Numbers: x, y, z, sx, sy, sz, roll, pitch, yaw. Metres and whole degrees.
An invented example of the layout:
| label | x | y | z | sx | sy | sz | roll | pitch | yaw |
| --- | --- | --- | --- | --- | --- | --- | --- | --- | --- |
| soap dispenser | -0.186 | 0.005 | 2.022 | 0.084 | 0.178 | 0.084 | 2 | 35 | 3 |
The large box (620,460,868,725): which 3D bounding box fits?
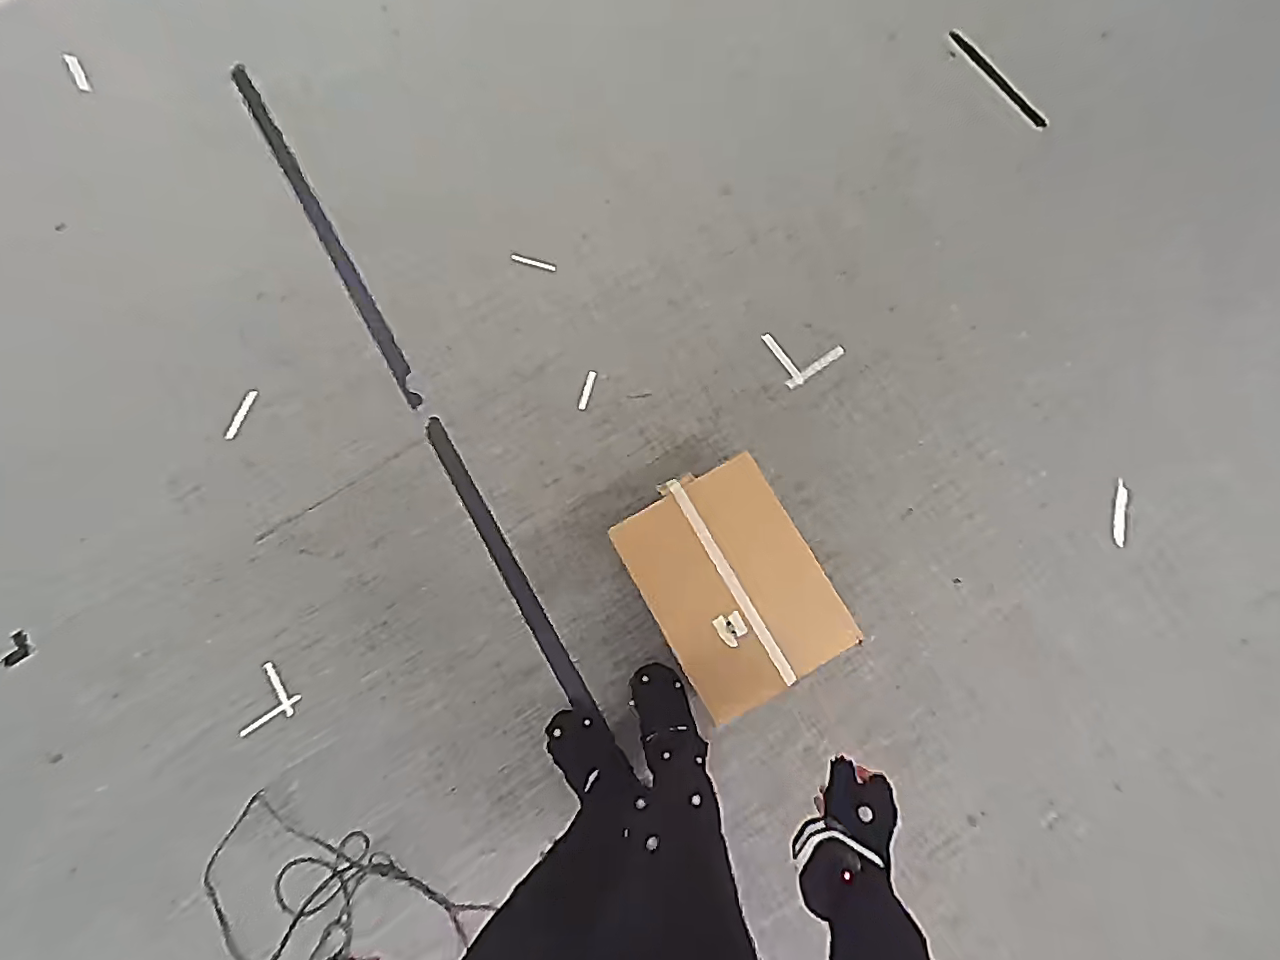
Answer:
| label | x | y | z | sx | sy | sz | roll | pitch | yaw |
| --- | --- | --- | --- | --- | --- | --- | --- | --- | --- |
| large box | 0.189 | 0.225 | 1.150 | 0.320 | 0.320 | 0.408 | -29 | 80 | -4 |
